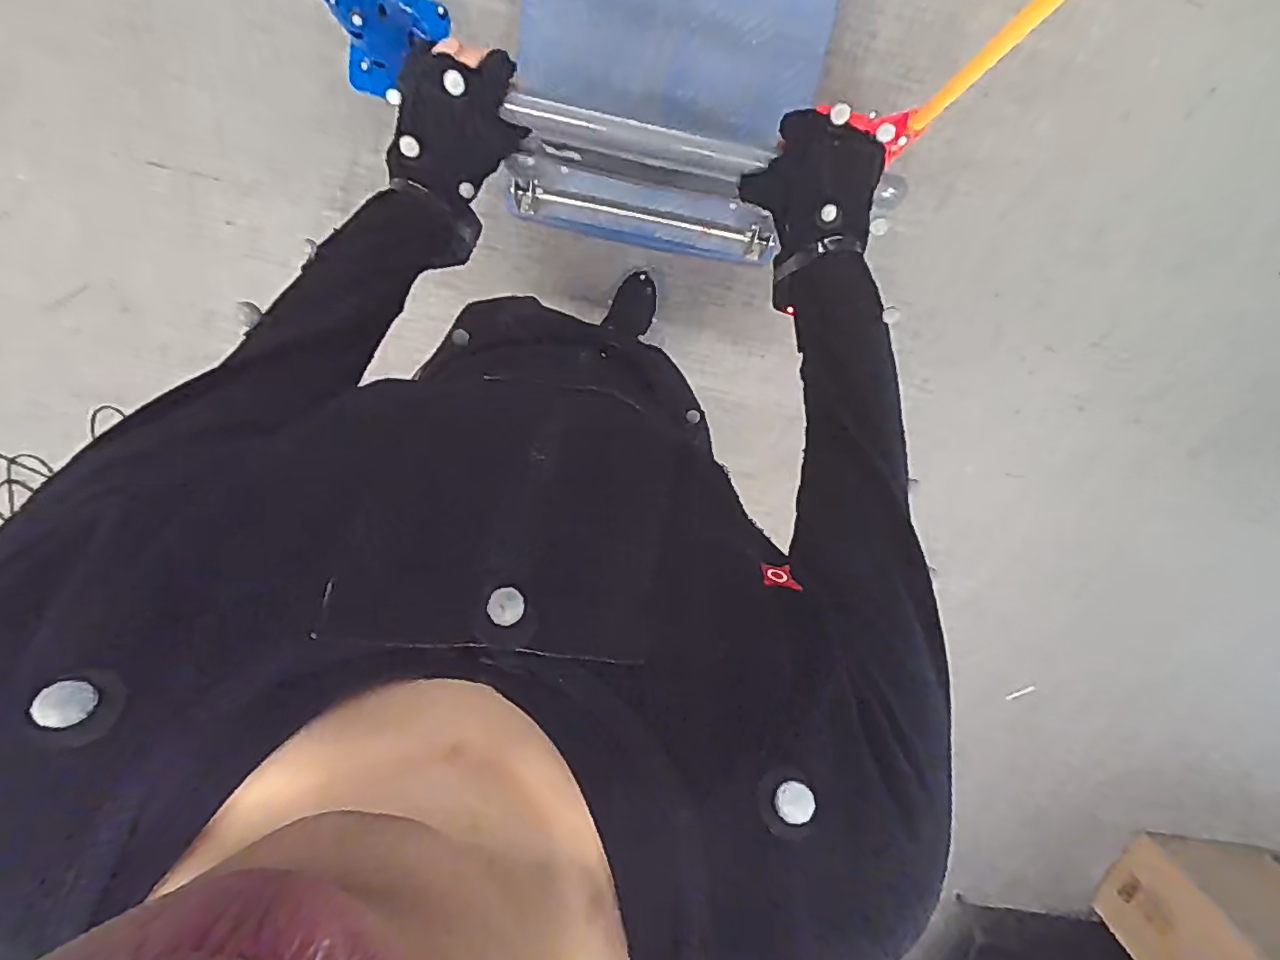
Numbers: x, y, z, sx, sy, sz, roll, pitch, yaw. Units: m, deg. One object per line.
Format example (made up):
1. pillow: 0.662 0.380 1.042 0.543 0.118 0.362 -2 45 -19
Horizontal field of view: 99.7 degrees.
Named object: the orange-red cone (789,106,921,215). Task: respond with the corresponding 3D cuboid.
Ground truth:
1. orange-red cone: 0.466 -0.685 1.101 0.199 0.360 0.198 12 109 -5
